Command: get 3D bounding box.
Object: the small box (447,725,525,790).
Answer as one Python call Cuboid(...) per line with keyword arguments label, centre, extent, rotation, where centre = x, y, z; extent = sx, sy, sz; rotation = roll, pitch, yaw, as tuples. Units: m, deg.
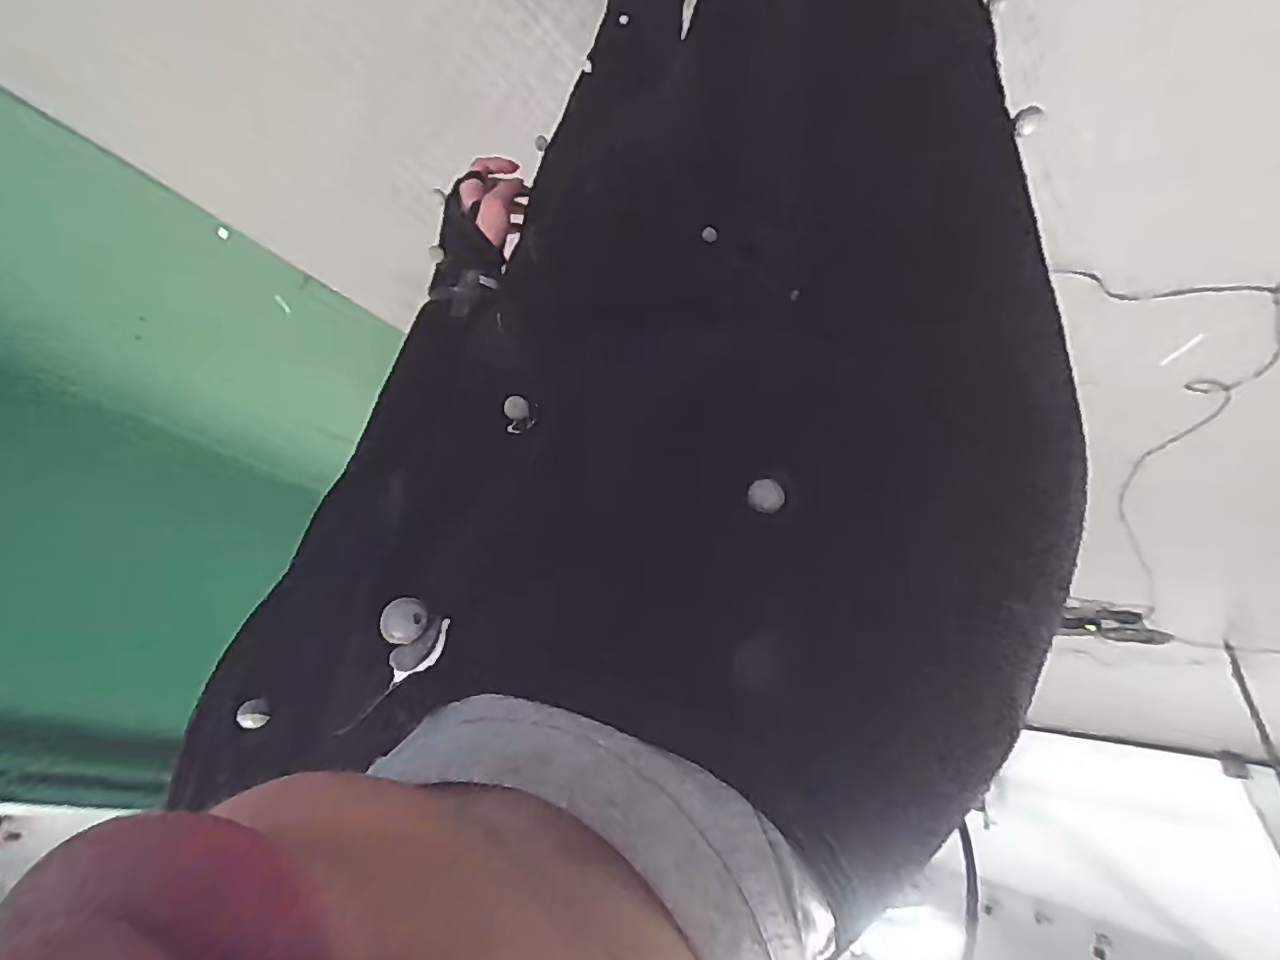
Cuboid(label="small box", centre=(-0.518, 0.941, 1.836), extent=(0.168, 0.176, 0.179), rotation=(-17, 142, 41))
